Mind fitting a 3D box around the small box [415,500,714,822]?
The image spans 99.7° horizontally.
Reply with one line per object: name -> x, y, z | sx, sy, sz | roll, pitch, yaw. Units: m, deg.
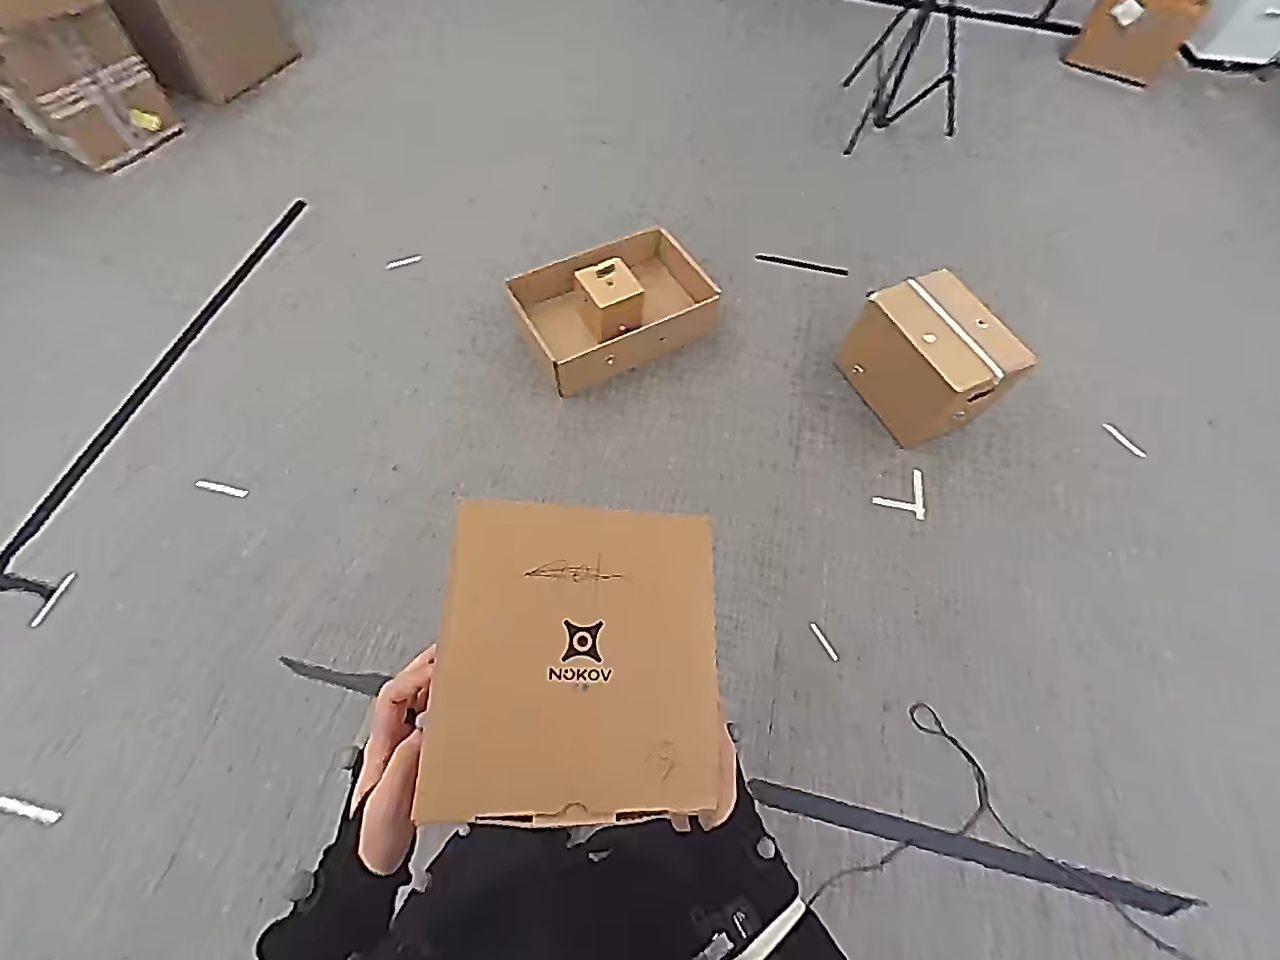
small box -> -0.052, 0.128, 0.394 | 0.168, 0.176, 0.179 | 6, 68, -12

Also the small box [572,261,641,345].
small box -> -0.114, -0.590, 1.813 | 0.168, 0.176, 0.179 | -27, 67, -16
